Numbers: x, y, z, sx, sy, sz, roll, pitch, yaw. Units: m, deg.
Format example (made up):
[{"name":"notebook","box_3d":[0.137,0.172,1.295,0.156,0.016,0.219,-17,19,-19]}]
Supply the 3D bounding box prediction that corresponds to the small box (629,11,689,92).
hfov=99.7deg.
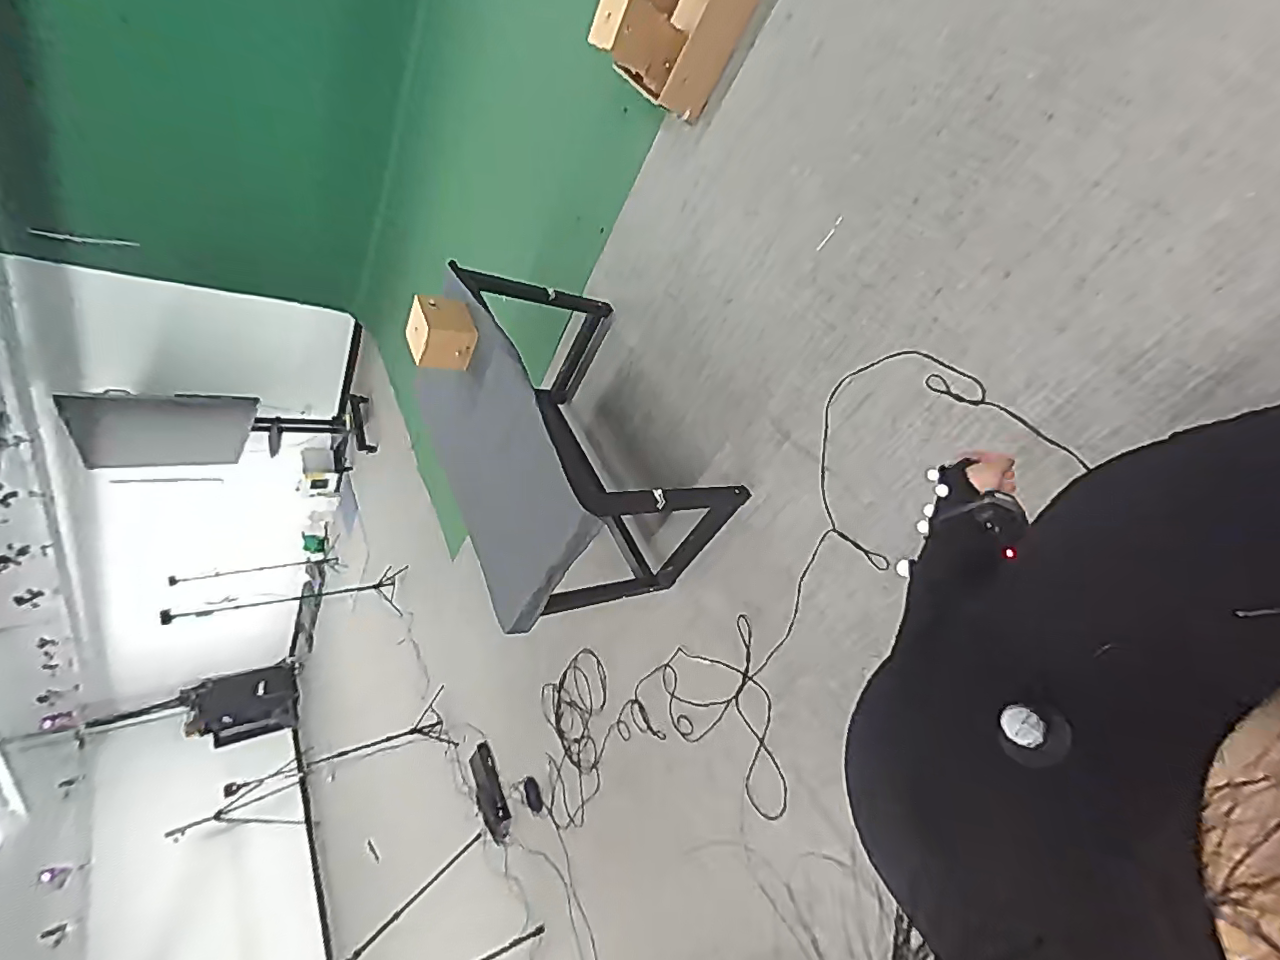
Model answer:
[{"name":"small box","box_3d":[0.049,-1.567,1.971,0.179,0.176,0.168,-53,56,36]}]

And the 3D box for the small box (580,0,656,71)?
[{"name":"small box","box_3d":[-0.074,-1.558,1.862,0.168,0.176,0.179,49,123,33]}]

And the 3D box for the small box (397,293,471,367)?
[{"name":"small box","box_3d":[-0.695,-0.497,1.823,0.168,0.176,0.179,-52,57,39]}]
